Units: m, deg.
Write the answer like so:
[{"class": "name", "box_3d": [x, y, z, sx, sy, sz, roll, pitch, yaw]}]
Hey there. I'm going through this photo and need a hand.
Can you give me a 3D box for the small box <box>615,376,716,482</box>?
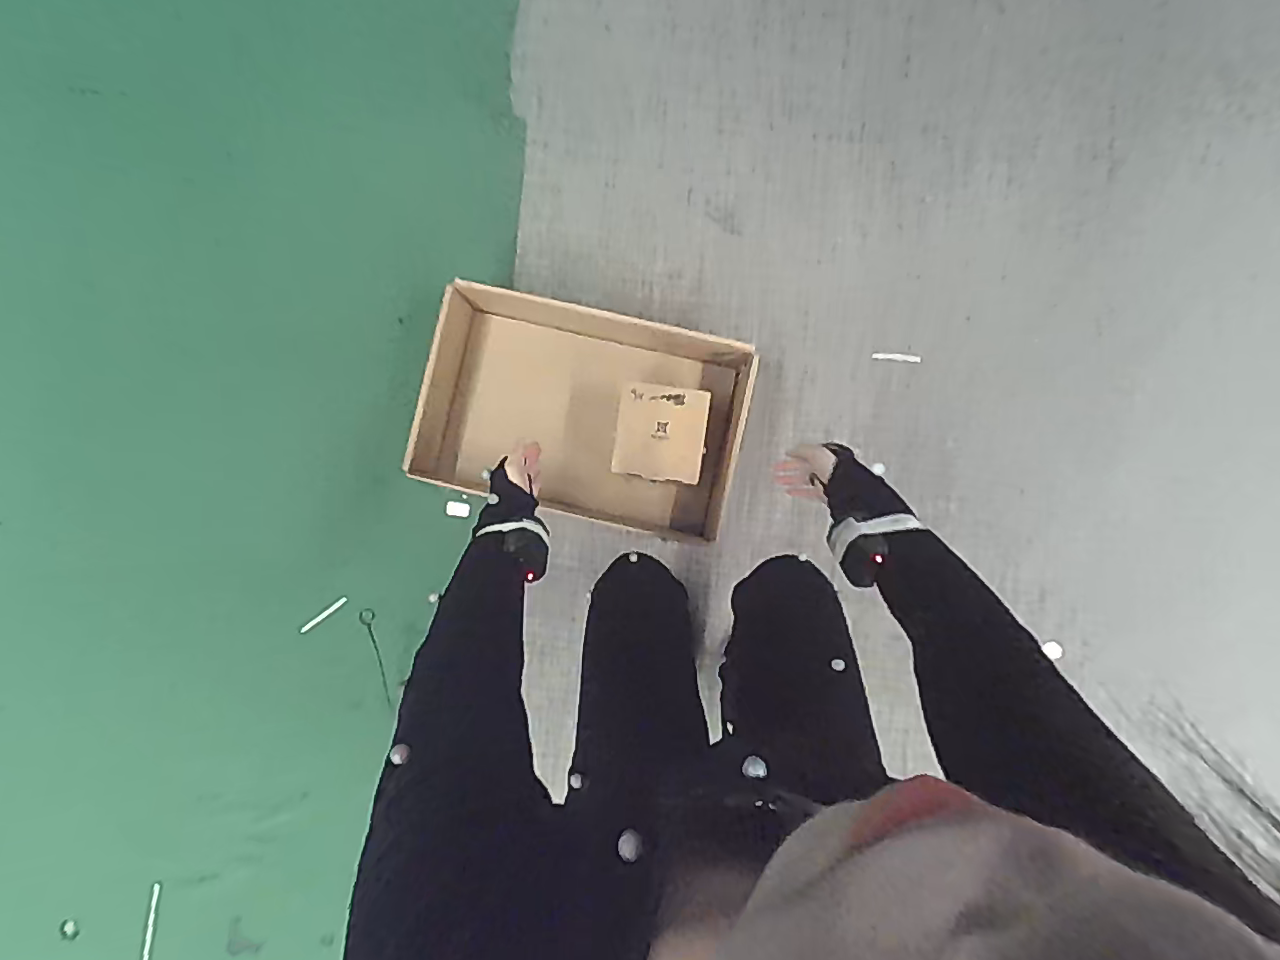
[{"class": "small box", "box_3d": [0.050, -0.094, 1.076, 0.168, 0.176, 0.179, 9, 89, 2]}]
